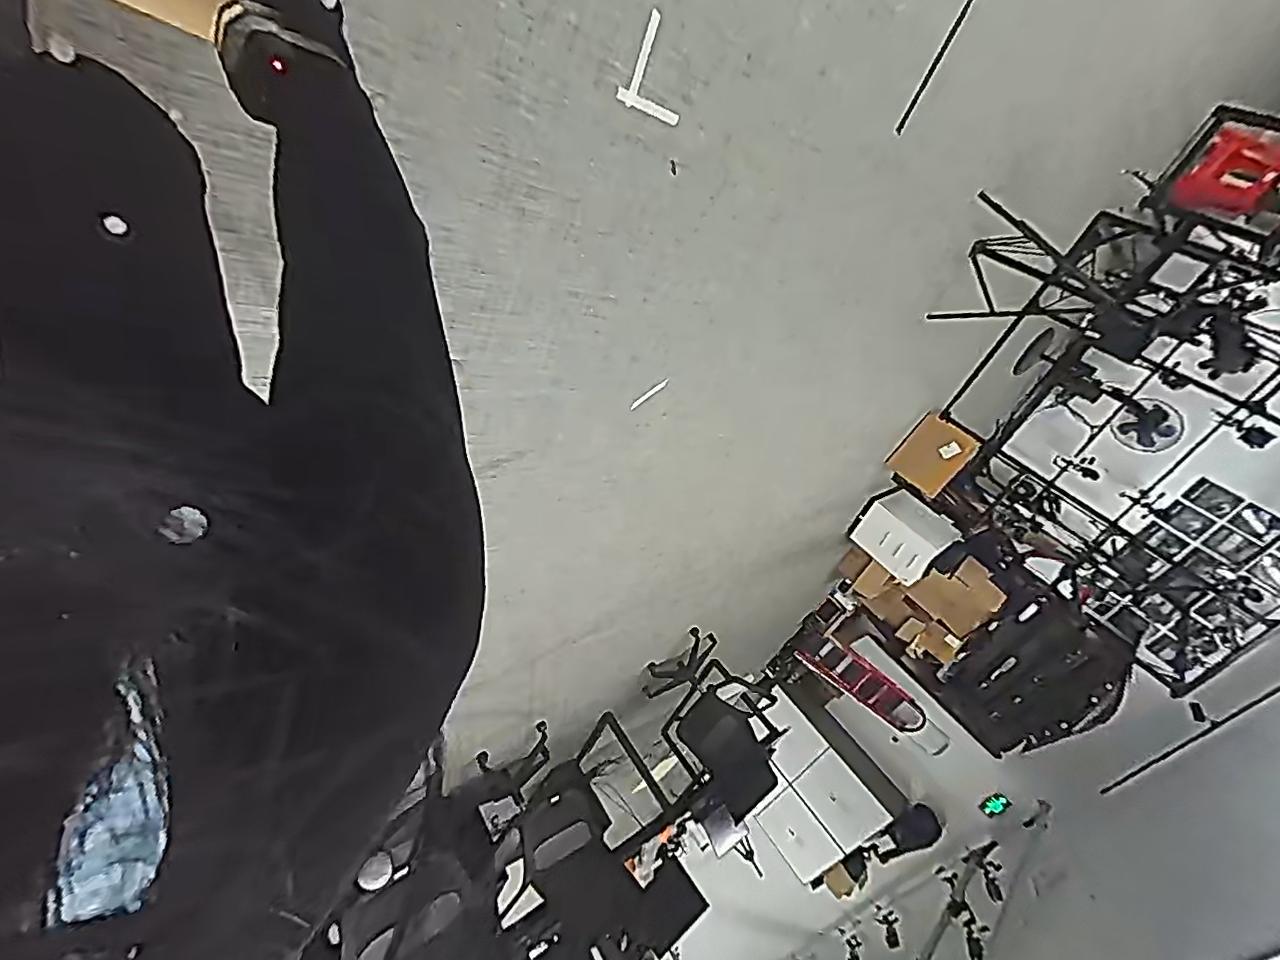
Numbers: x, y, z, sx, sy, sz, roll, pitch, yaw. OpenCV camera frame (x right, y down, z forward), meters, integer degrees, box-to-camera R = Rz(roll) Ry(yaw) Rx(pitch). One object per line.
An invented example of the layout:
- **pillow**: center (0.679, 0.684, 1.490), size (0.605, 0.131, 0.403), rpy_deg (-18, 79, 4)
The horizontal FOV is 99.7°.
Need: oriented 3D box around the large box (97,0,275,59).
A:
- **large box**: center (-0.534, -0.600, 0.415), size (0.408, 0.320, 0.320), rpy_deg (-1, 120, -44)
